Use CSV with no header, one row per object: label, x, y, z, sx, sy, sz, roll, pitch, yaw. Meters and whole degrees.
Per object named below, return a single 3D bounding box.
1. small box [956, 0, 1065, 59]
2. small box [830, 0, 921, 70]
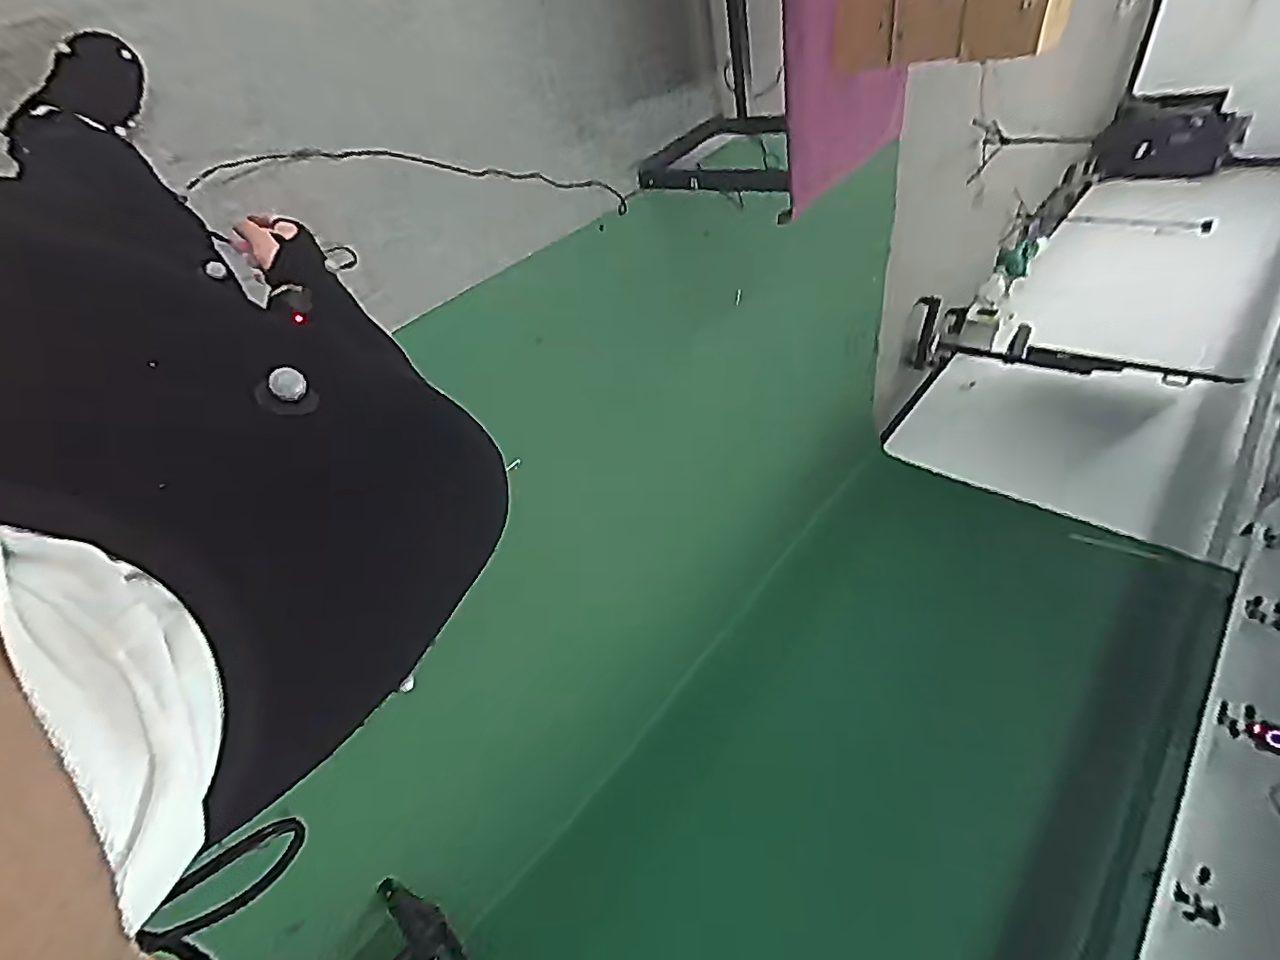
small box,0.839,-1.079,1.217,0.168,0.176,0.179,-39,137,-28
small box,0.616,-1.209,1.419,0.168,0.176,0.179,-41,138,-27
